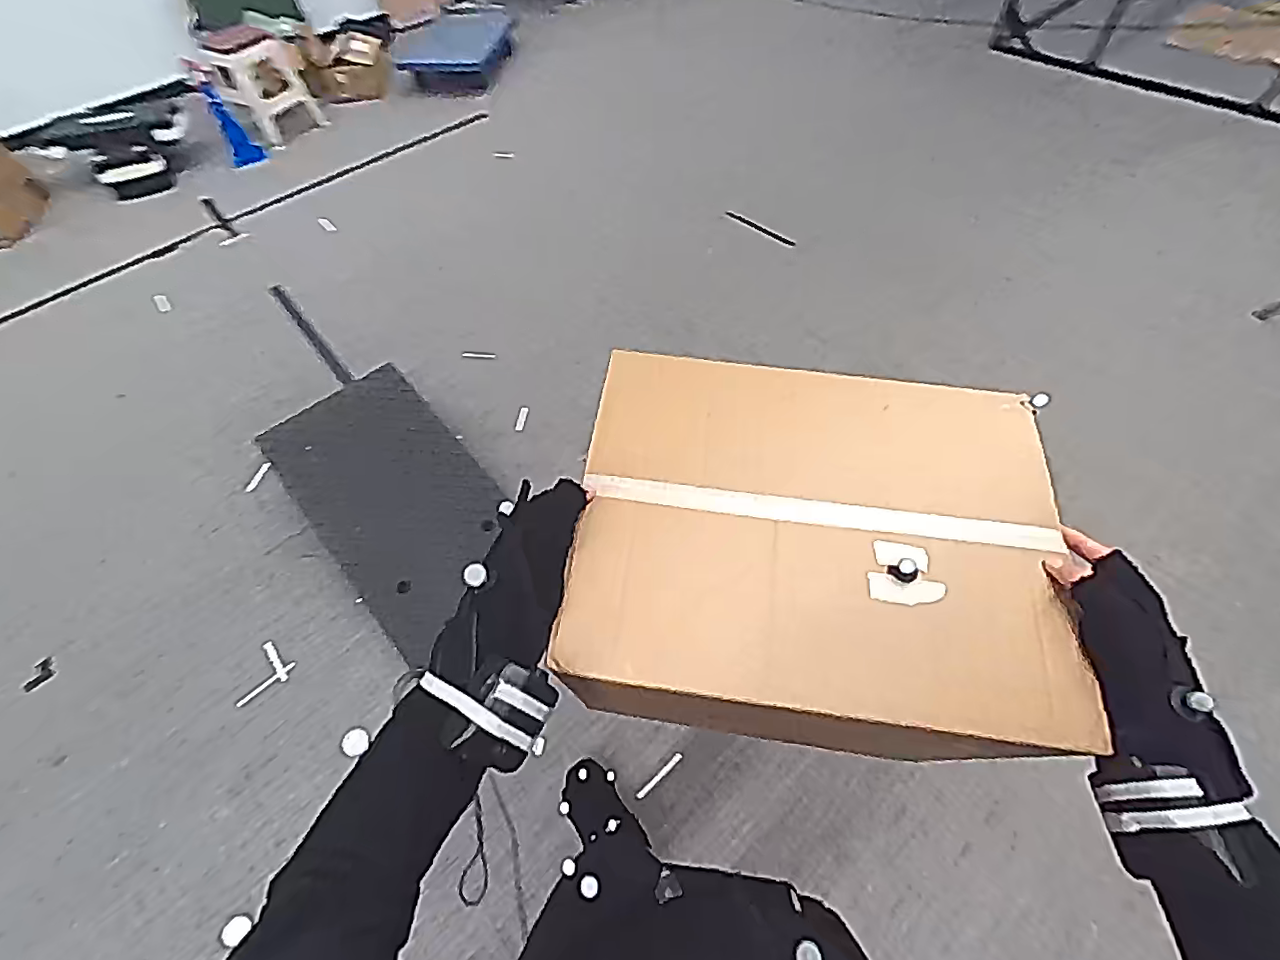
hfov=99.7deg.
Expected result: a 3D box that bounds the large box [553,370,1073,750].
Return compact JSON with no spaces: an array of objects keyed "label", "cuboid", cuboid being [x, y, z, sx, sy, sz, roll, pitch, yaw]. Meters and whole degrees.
[{"label":"large box","cuboid":[0.141,0.107,0.611,0.408,0.320,0.320,6,62,3]}]

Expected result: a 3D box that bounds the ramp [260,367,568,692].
[{"label":"ramp","cuboid":[-0.693,0.087,1.652,0.509,0.206,0.991,-39,62,-21]}]
